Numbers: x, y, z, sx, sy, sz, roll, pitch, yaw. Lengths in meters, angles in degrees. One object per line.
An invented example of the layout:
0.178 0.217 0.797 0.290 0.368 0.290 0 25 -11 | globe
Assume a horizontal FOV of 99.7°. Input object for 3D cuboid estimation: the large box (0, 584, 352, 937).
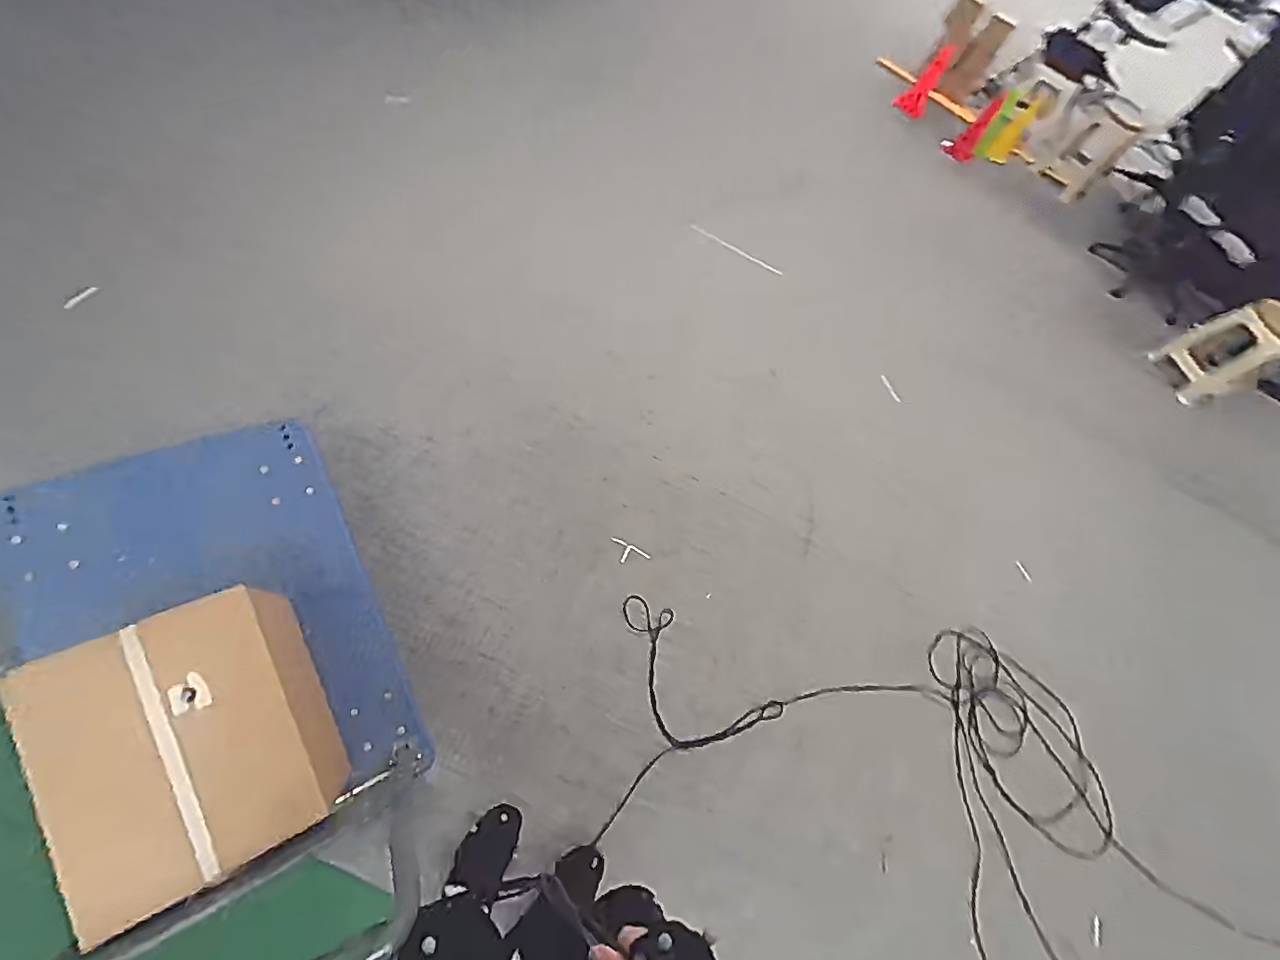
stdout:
-0.760 0.441 0.955 0.320 0.320 0.408 -22 83 -26 | large box
